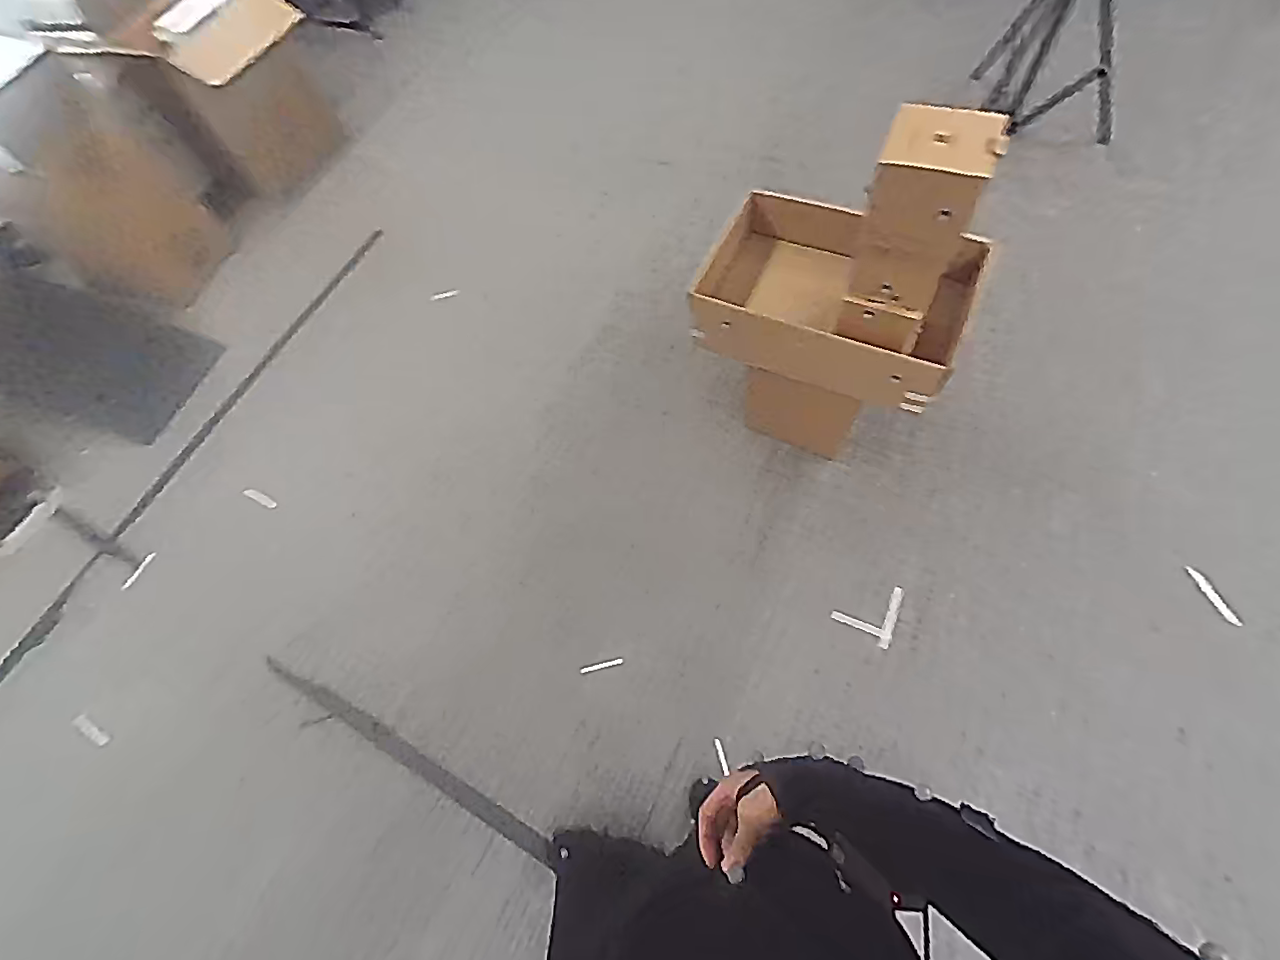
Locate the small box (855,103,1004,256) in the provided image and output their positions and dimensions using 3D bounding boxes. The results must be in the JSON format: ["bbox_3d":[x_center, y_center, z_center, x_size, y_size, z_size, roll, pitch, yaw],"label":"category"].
[{"bbox_3d":[0.514,-0.536,0.978,0.179,0.176,0.168,19,69,17],"label":"small box"}]
